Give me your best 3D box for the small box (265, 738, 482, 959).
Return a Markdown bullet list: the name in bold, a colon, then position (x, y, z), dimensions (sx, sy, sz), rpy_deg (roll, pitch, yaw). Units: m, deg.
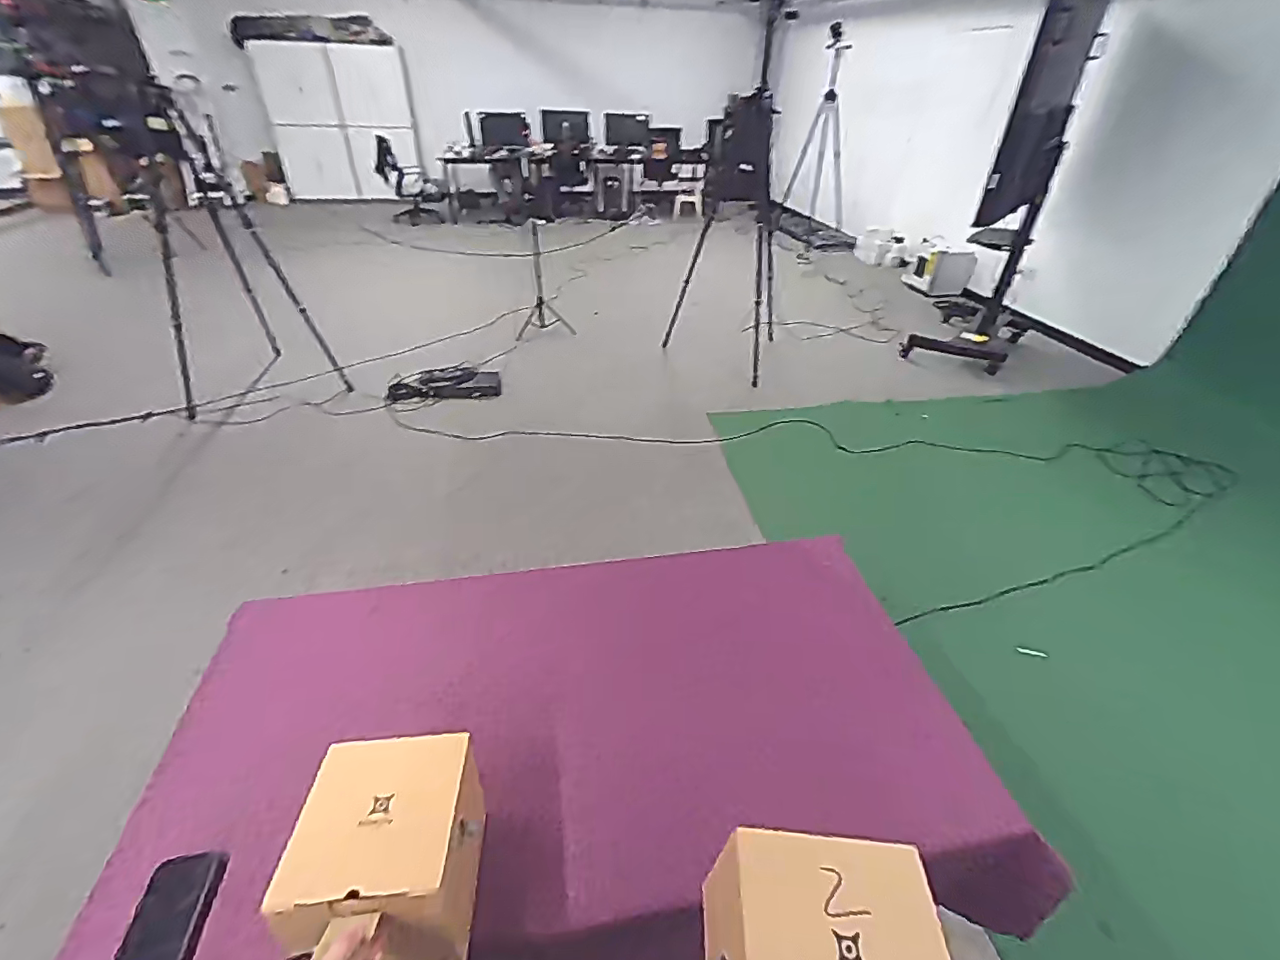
- **small box**: position (-0.282, 0.430, 0.621), dimensions (0.168, 0.176, 0.179), rpy_deg (-1, 29, -6)
